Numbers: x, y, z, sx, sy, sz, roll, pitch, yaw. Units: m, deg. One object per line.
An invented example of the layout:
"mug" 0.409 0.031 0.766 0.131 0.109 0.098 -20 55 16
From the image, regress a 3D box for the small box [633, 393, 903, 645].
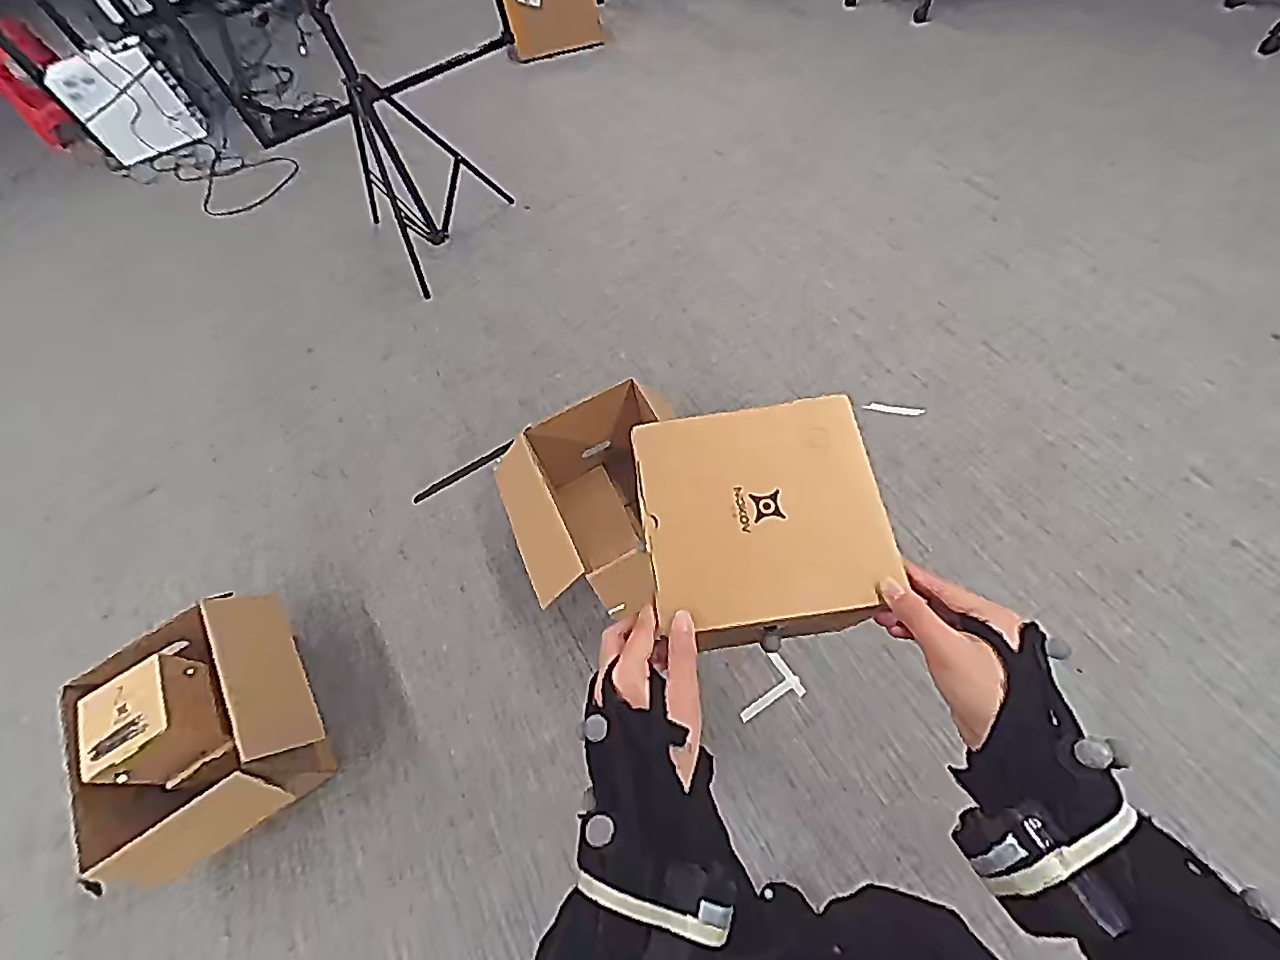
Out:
"small box" 0.094 0.046 0.479 0.179 0.176 0.168 -9 67 1
